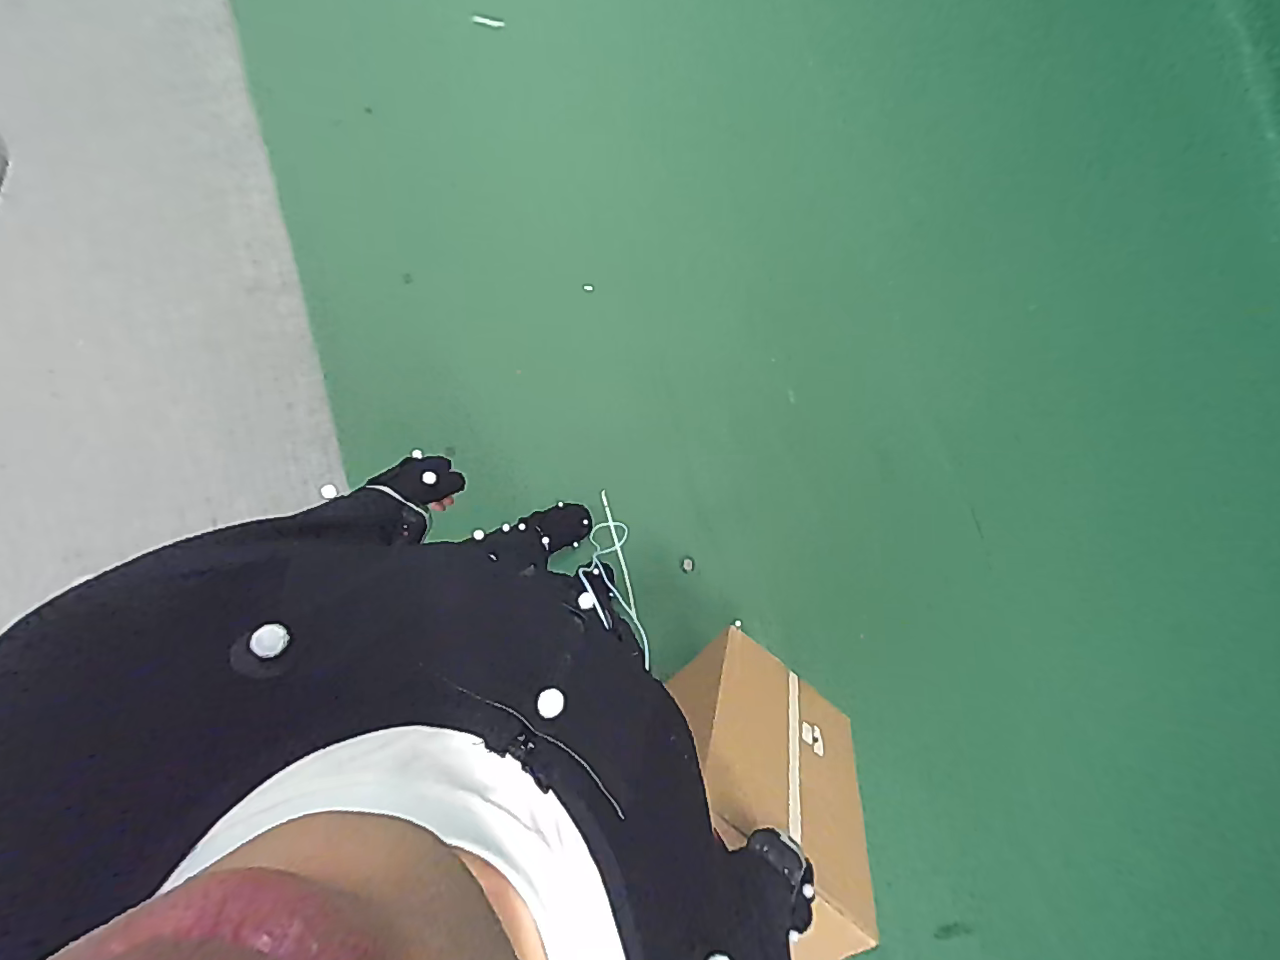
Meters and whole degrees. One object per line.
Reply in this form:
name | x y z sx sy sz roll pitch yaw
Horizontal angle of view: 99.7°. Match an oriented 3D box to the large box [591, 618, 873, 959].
large box | 0.163 0.546 0.979 0.320 0.408 0.320 40 115 -2
